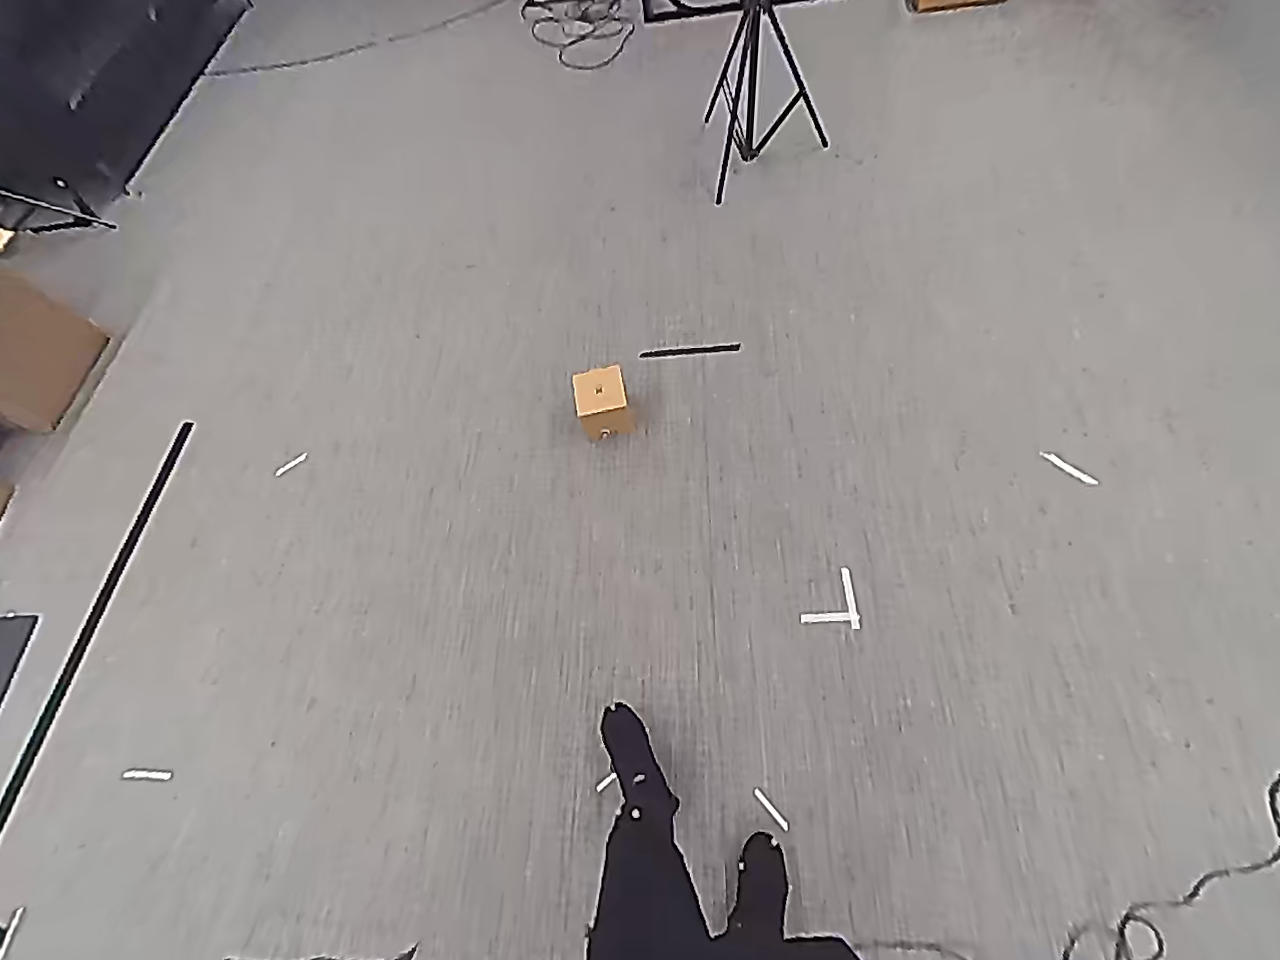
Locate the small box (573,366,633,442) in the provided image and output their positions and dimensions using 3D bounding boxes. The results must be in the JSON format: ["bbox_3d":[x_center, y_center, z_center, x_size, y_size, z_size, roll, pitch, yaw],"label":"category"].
[{"bbox_3d":[-0.123,-0.255,1.840,0.168,0.176,0.179,-12,62,3],"label":"small box"}]
